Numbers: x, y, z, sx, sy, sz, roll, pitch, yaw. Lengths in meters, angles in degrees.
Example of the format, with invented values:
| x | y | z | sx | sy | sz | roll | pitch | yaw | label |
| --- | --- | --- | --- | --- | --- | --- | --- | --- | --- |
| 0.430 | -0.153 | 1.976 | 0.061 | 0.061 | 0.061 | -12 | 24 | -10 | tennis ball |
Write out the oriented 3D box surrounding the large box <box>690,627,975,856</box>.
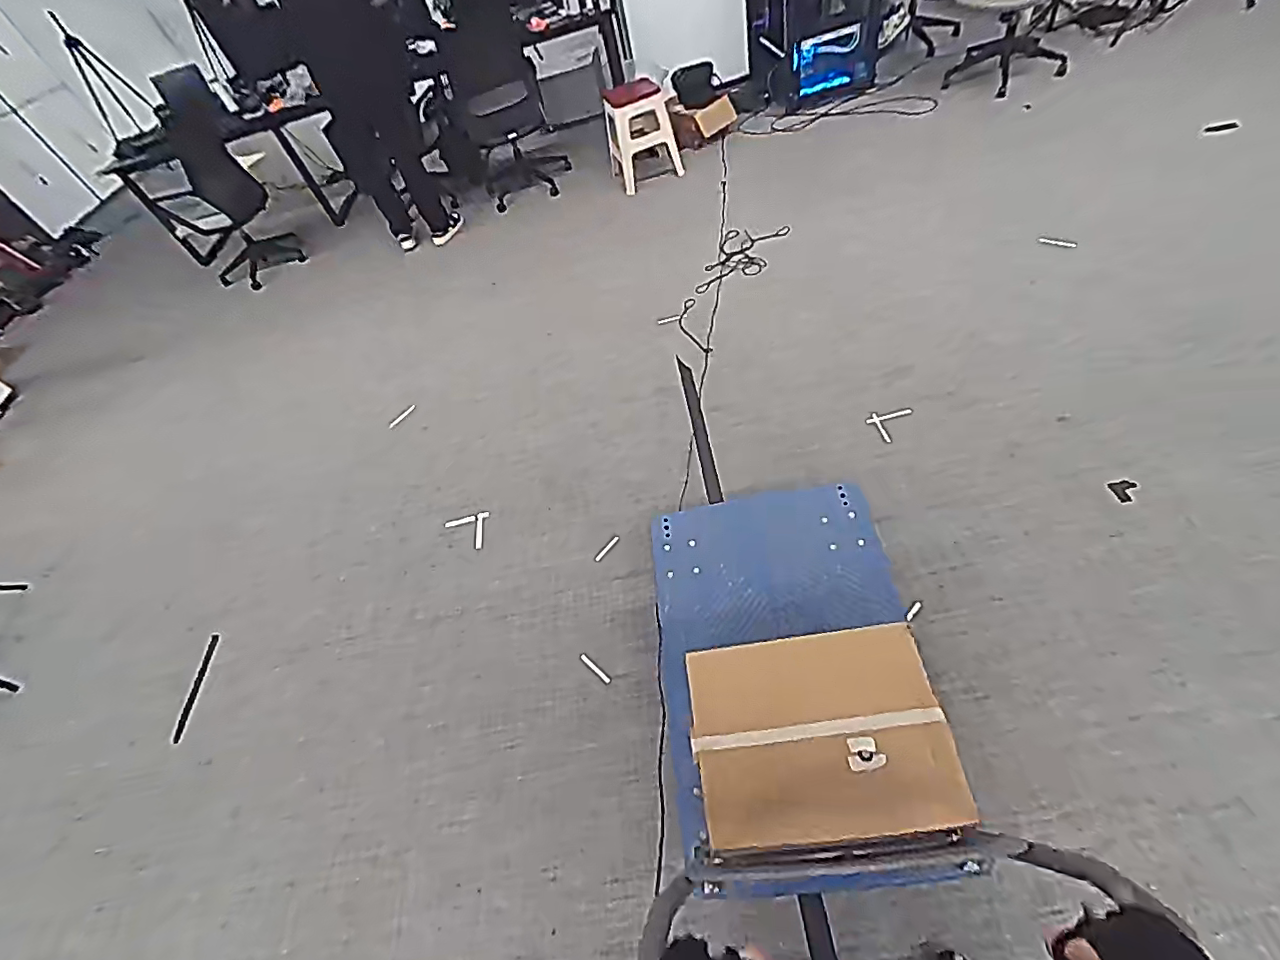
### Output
| x | y | z | sx | sy | sz | roll | pitch | yaw | label |
| --- | --- | --- | --- | --- | --- | --- | --- | --- | --- |
| 0.329 | 0.510 | 1.039 | 0.408 | 0.320 | 0.320 | -11 | 57 | 7 | large box |
